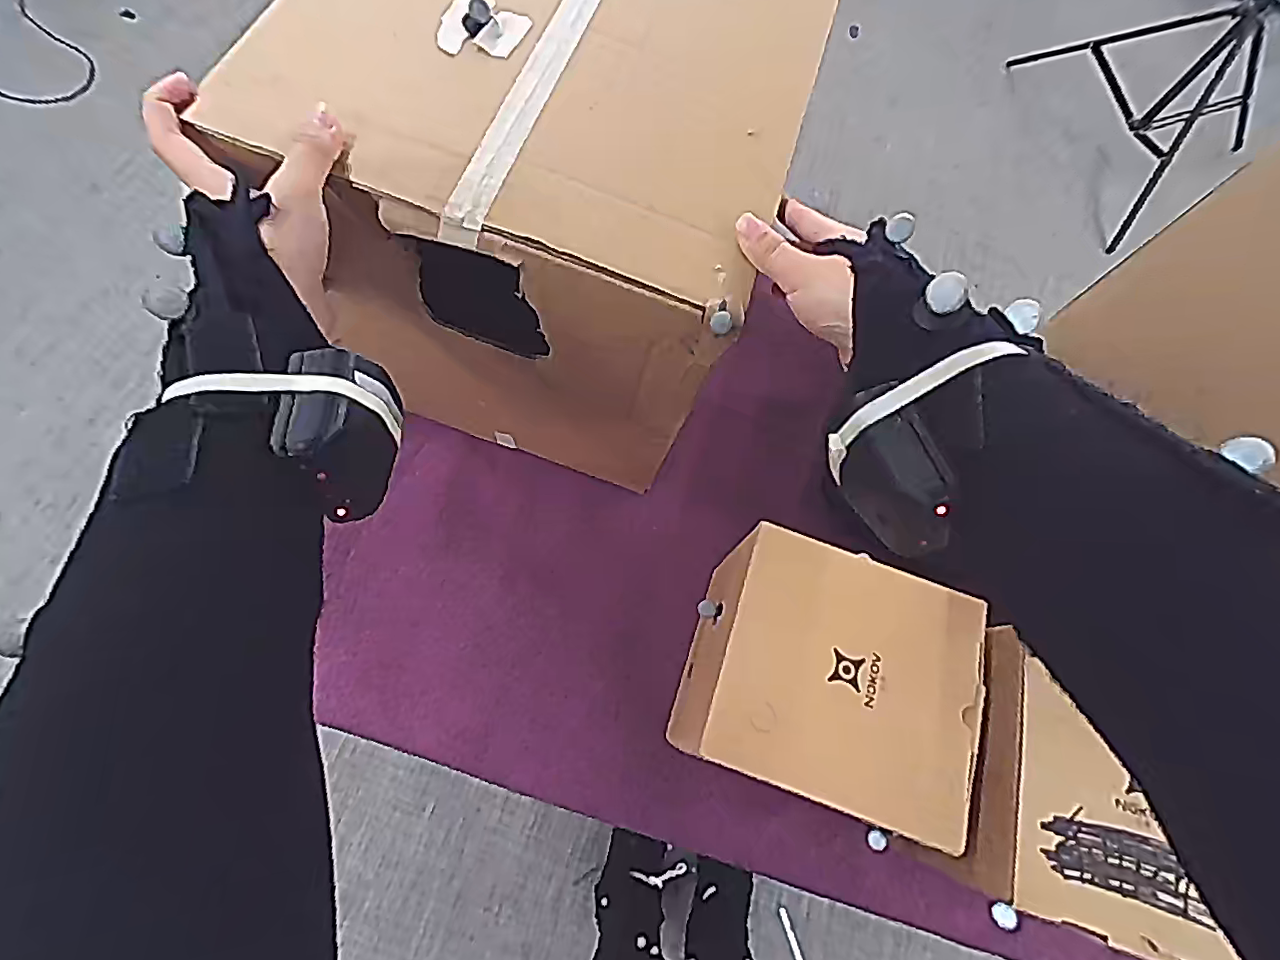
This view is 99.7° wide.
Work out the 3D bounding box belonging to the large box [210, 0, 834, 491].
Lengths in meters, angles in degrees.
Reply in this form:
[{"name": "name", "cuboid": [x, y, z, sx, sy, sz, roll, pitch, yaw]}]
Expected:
[{"name": "large box", "cuboid": [-0.056, -0.254, 0.500, 0.320, 0.320, 0.408, 19, 71, -1]}]
